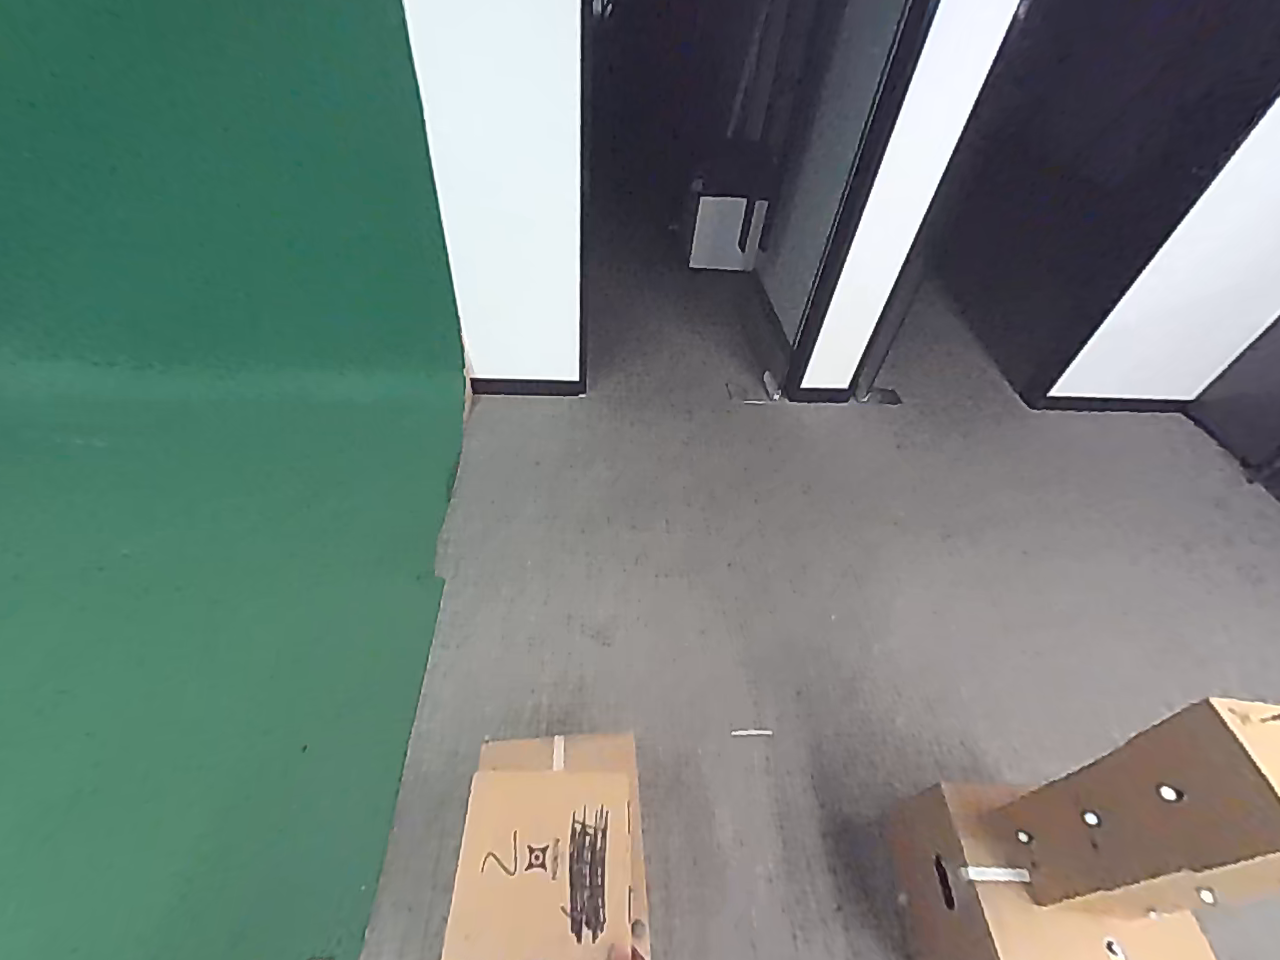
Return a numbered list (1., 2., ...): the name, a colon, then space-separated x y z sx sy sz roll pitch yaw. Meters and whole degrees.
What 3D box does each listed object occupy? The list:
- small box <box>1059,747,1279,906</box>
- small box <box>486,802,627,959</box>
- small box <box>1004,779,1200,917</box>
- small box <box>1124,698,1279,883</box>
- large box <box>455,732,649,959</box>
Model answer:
1. small box: 0.821 0.545 0.846 0.179 0.176 0.168 8 43 1
2. small box: -0.104 0.554 0.726 0.168 0.176 0.179 2 45 -6
3. small box: 0.804 0.658 0.963 0.179 0.176 0.168 7 44 0
4. small box: 0.833 0.425 0.734 0.168 0.176 0.179 8 44 0
5. large box: -0.166 0.773 1.076 0.320 0.320 0.408 0 45 -7
